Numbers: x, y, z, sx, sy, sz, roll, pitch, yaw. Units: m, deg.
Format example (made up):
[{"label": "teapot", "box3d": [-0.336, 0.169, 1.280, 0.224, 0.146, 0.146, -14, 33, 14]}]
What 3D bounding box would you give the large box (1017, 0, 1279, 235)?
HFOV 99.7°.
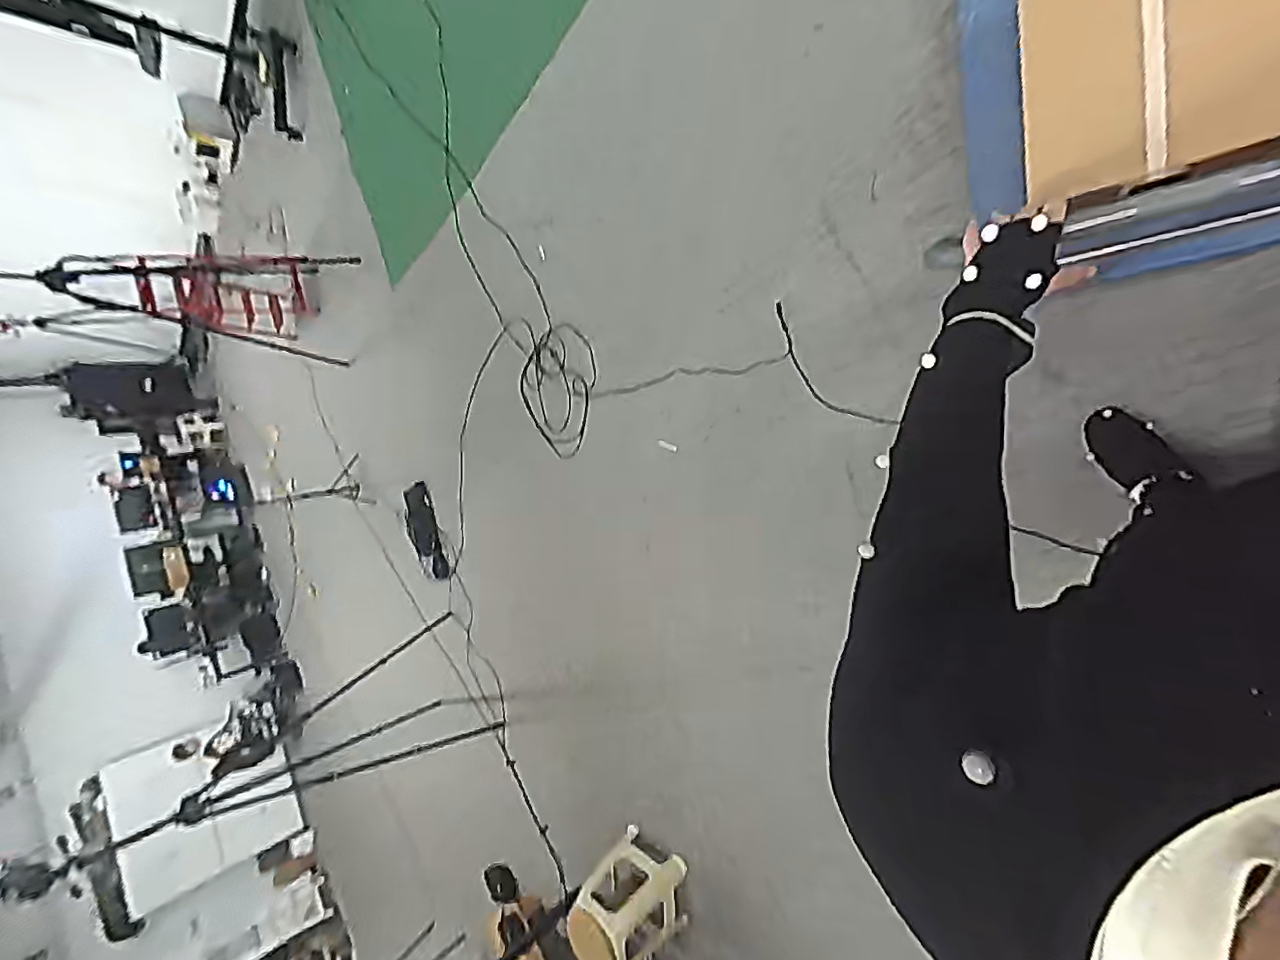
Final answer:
[{"label": "large box", "box3d": [0.851, -0.689, 0.905, 0.320, 0.320, 0.408, -2, 97, 42]}]
